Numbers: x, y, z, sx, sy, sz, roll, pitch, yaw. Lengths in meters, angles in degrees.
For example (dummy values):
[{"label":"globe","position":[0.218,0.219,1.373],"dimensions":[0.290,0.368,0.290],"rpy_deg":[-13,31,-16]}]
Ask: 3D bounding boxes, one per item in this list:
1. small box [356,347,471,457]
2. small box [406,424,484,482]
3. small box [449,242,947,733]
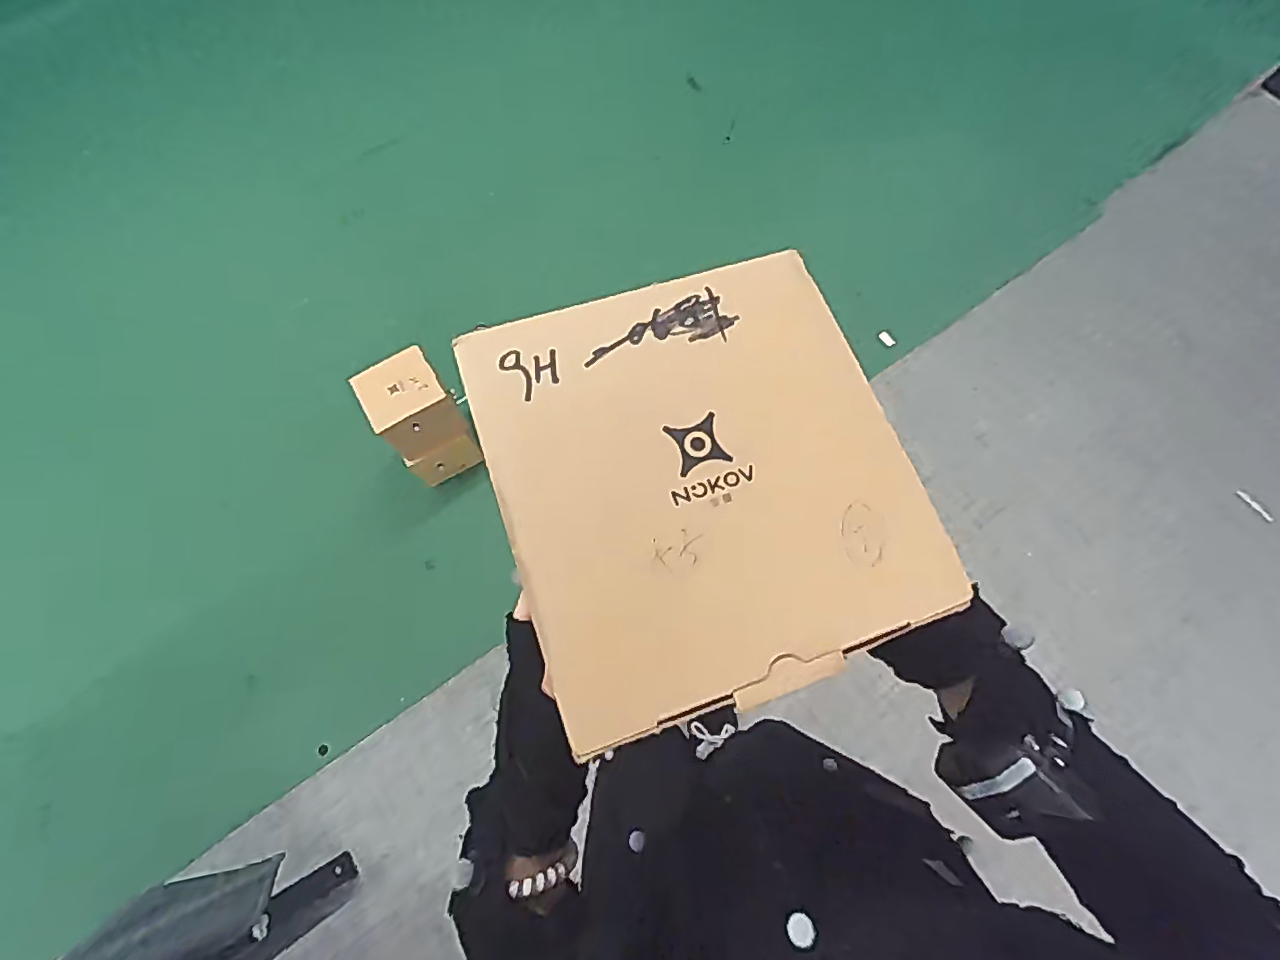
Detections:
[{"label":"small box","position":[-0.542,-0.181,1.311],"dimensions":[0.179,0.176,0.168],"rpy_deg":[-30,72,-10]},{"label":"small box","position":[-0.539,-0.113,1.461],"dimensions":[0.168,0.176,0.179],"rpy_deg":[-29,72,-9]},{"label":"small box","position":[0.016,0.011,0.301],"dimensions":[0.168,0.176,0.179],"rpy_deg":[-18,75,-10]}]
